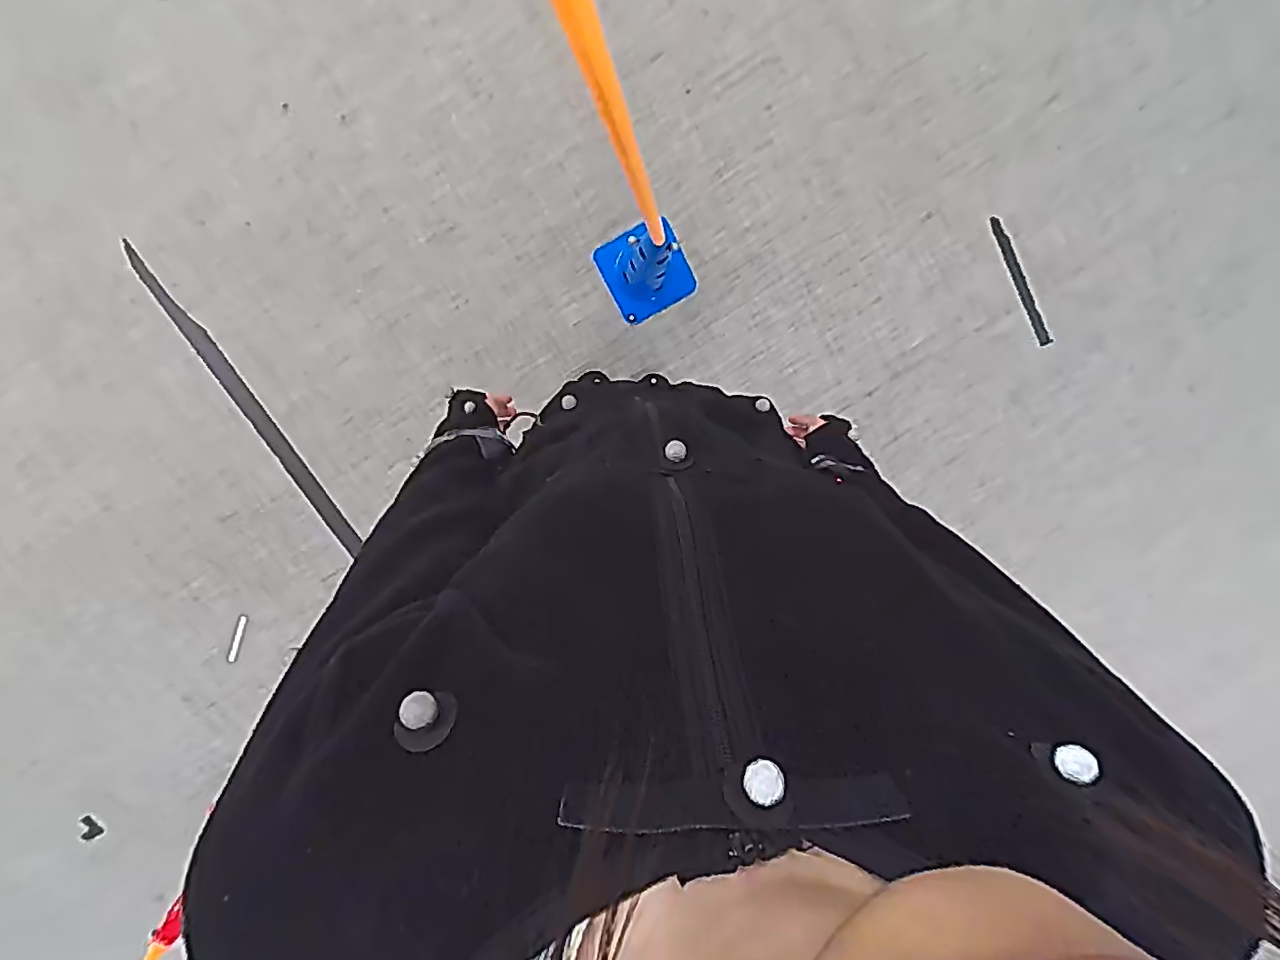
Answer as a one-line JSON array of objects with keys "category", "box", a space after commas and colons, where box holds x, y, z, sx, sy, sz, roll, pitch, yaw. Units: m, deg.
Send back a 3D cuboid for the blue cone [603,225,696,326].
[{"category": "blue cone", "box": [0.033, -0.464, 1.156, 0.193, 0.380, 0.192, -27, 103, 2]}]
